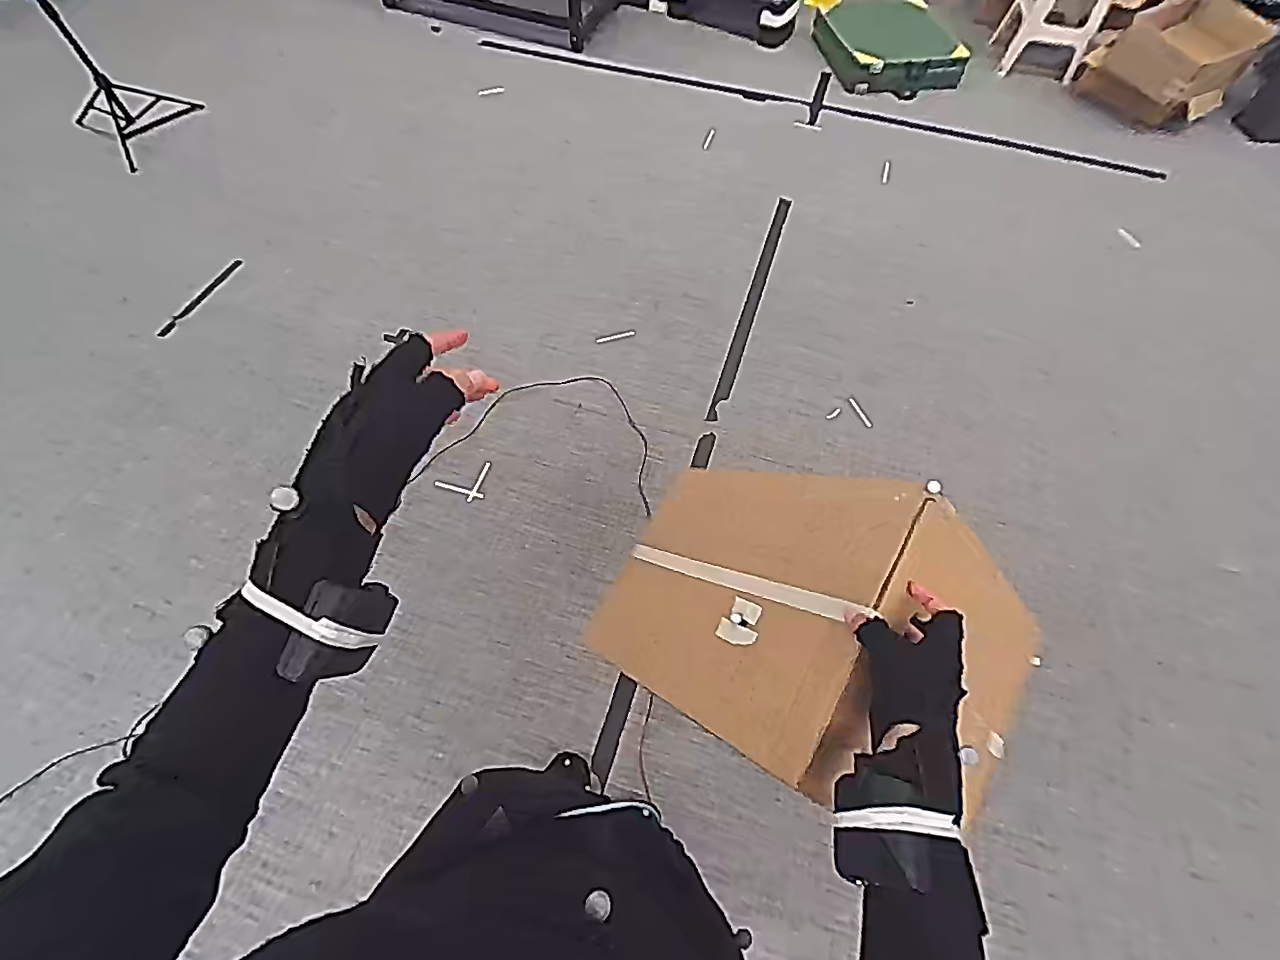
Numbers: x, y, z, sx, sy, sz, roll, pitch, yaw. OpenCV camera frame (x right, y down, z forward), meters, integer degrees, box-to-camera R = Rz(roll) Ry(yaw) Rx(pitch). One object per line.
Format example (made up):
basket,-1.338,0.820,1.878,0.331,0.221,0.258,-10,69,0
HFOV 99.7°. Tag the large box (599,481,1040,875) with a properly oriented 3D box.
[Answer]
large box,0.219,0.218,0.732,0.320,0.408,0.320,41,73,-26
